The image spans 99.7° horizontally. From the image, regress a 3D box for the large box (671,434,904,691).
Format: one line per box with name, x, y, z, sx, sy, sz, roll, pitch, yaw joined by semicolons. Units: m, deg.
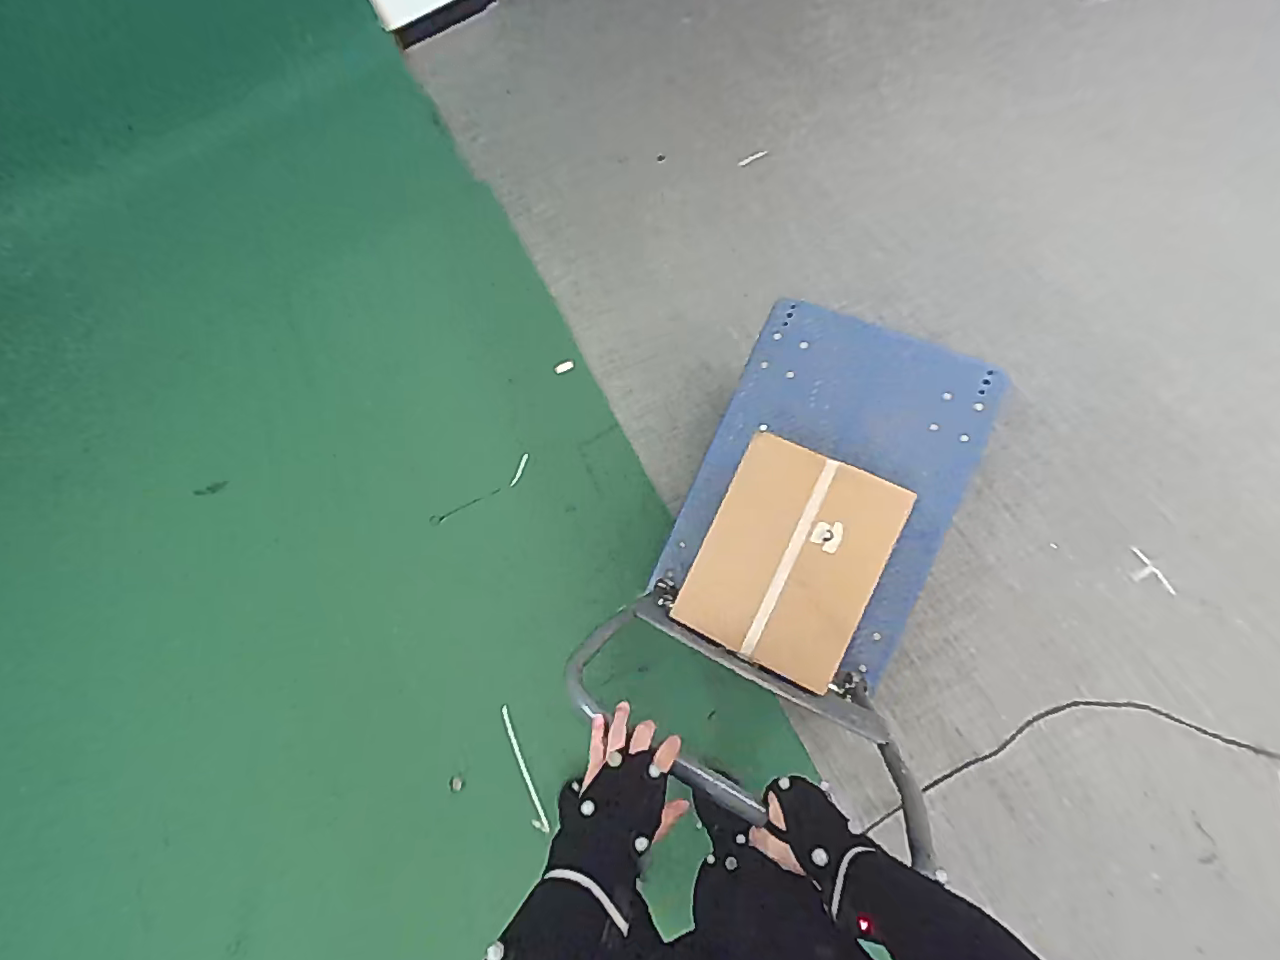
large box;0.303;0.169;1.165;0.320;0.320;0.408;25;87;14
